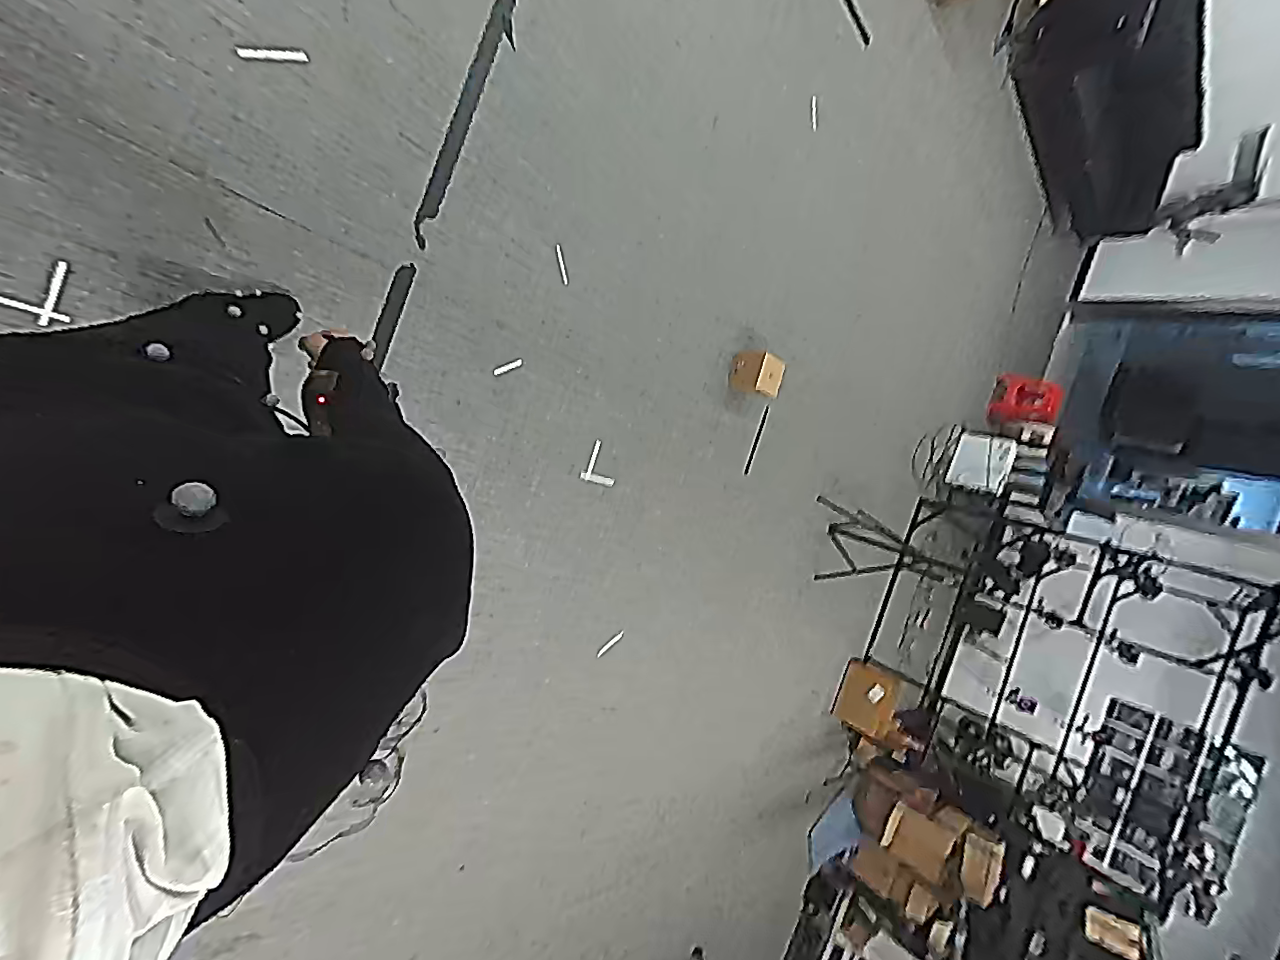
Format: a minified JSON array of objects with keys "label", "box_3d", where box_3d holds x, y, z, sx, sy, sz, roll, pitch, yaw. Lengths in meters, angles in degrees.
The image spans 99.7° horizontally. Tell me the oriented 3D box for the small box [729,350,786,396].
[{"label":"small box","box_3d":[0.547,-0.503,2.528,0.179,0.176,0.168,14,93,-44]}]
